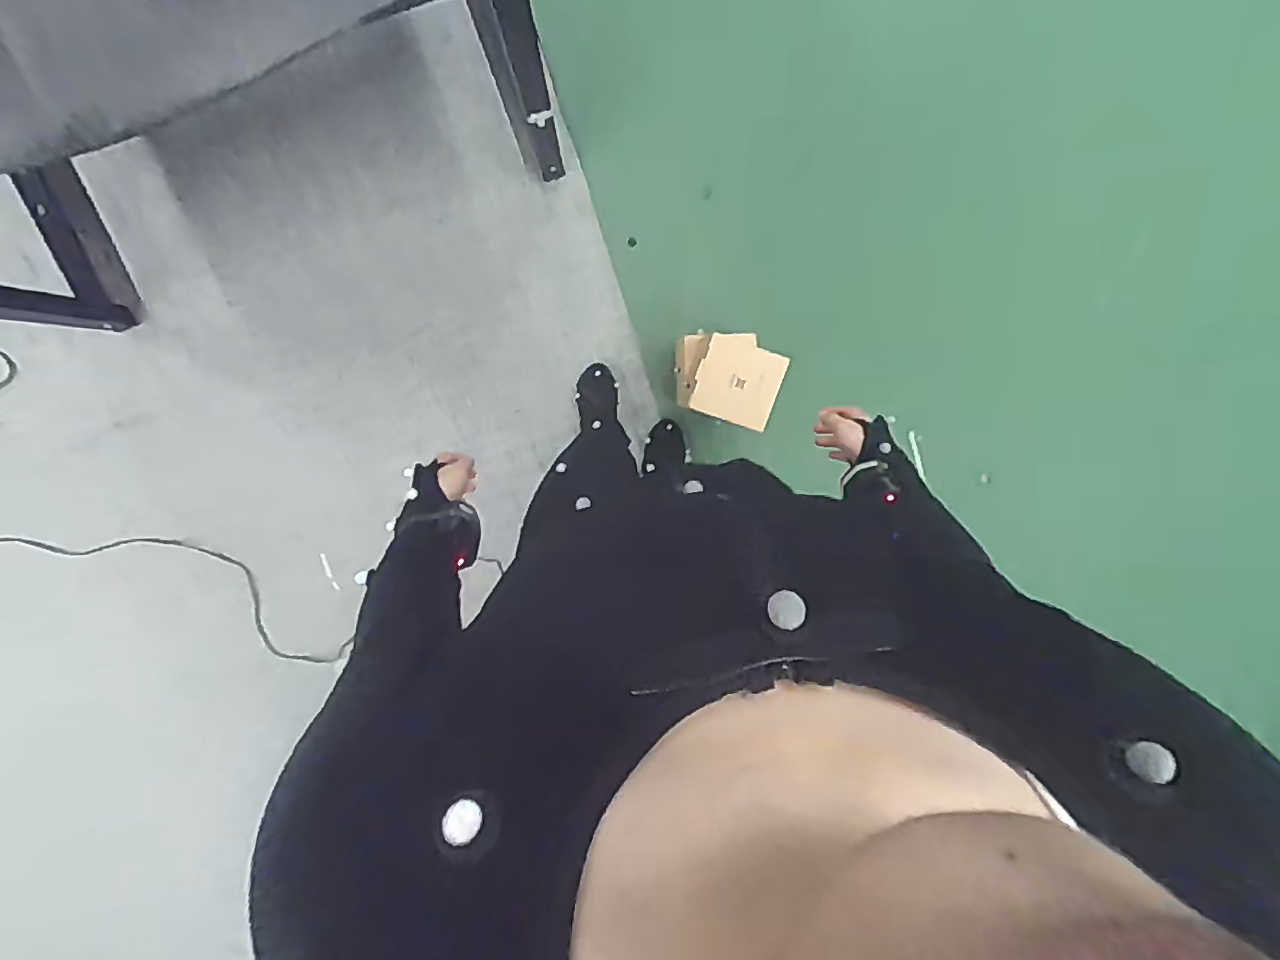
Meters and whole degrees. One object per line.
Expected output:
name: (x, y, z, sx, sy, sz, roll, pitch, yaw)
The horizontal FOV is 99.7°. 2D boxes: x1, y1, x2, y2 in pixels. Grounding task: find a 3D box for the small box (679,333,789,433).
small box: (0.198, -0.214, 1.202, 0.179, 0.176, 0.168, 18, 100, -7)
